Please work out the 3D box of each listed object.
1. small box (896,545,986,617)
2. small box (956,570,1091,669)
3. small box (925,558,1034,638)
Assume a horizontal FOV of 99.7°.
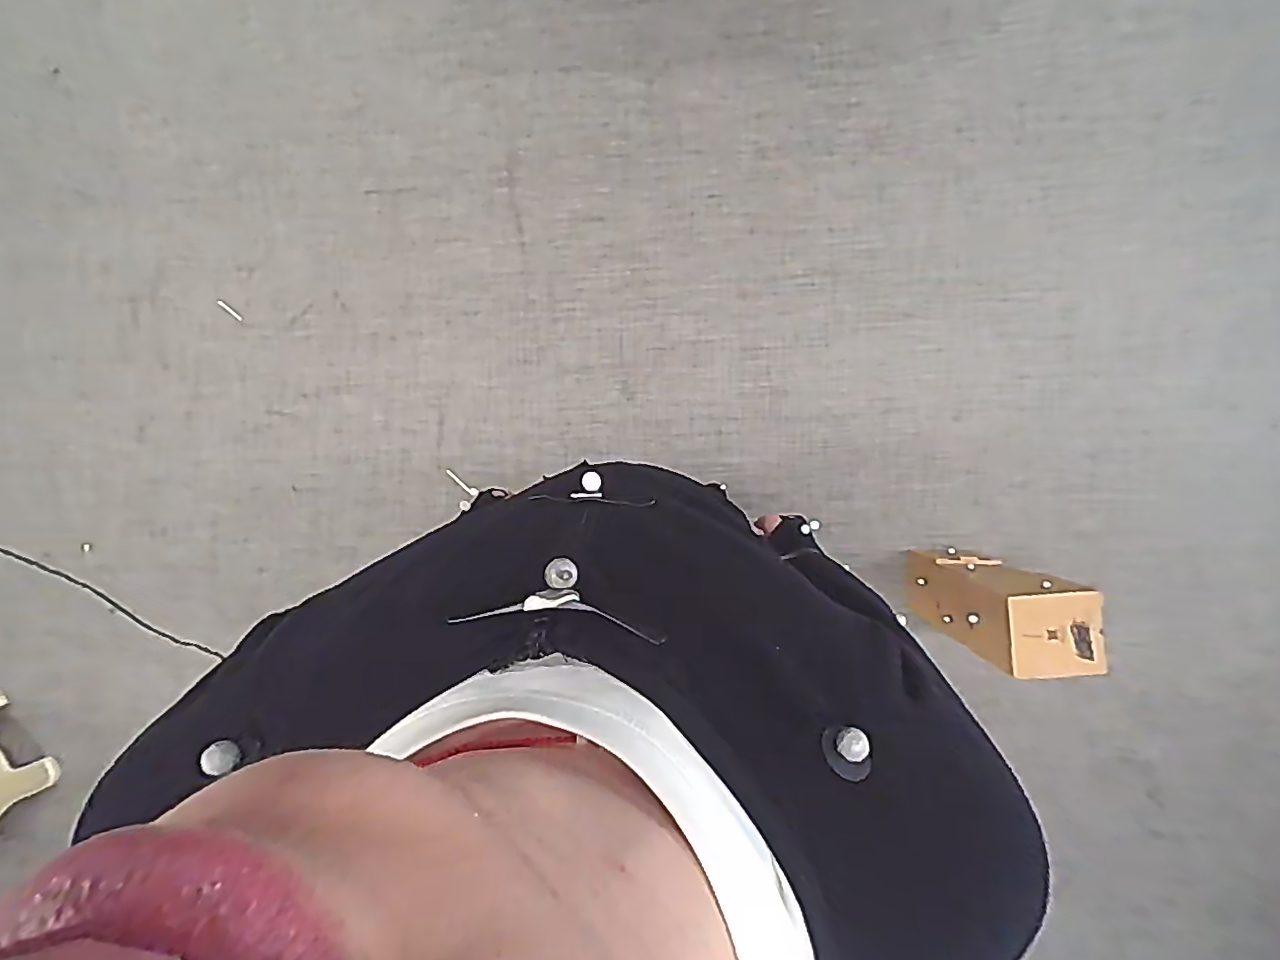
[{"bbox_3d":[0.828,0.277,1.497,0.168,0.176,0.179,-2,92,0],"label":"small box"},{"bbox_3d":[0.807,0.289,1.150,0.179,0.176,0.168,-2,91,1],"label":"small box"},{"bbox_3d":[0.819,0.287,1.316,0.179,0.176,0.168,-1,93,0],"label":"small box"}]
